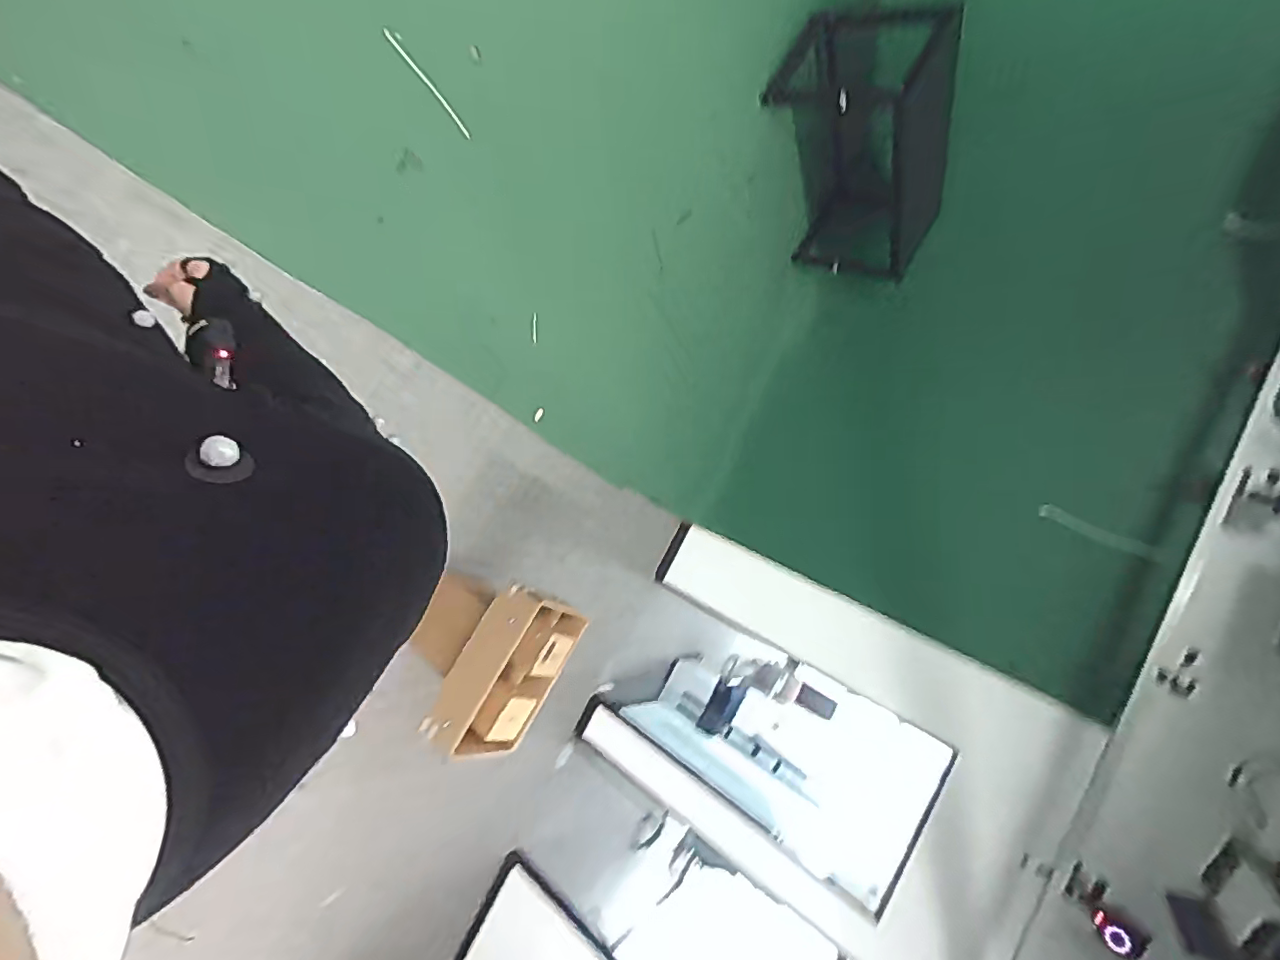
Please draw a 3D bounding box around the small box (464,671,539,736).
[{"bbox_3d":[-0.522,0.844,2.043,0.168,0.176,0.179,-59,148,-9],"label":"small box"}]
